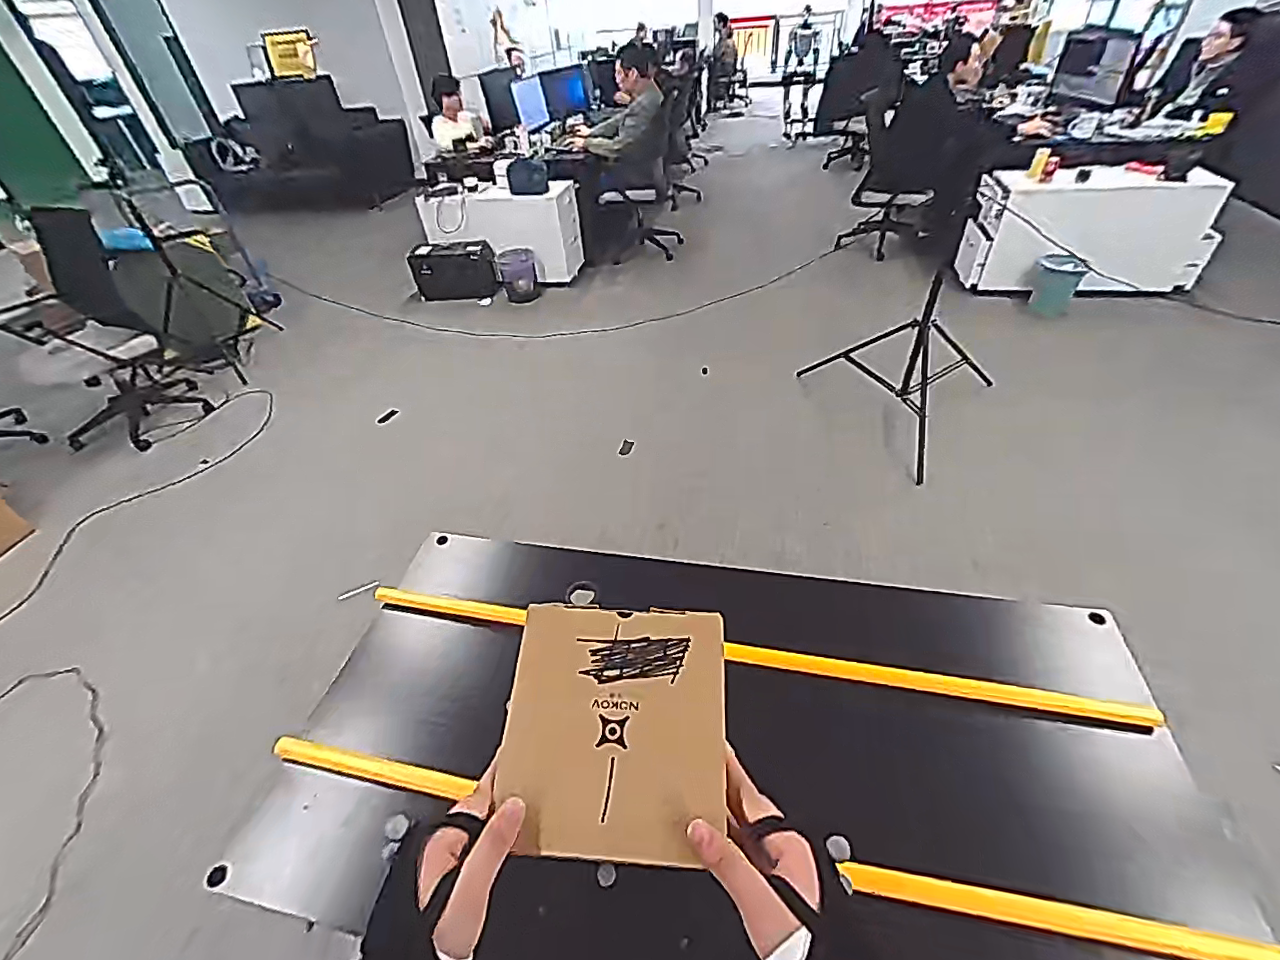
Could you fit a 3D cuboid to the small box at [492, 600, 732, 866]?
[{"bbox_3d":[-0.012,0.223,0.473,0.168,0.176,0.179,3,56,4],"label":"small box"}]
